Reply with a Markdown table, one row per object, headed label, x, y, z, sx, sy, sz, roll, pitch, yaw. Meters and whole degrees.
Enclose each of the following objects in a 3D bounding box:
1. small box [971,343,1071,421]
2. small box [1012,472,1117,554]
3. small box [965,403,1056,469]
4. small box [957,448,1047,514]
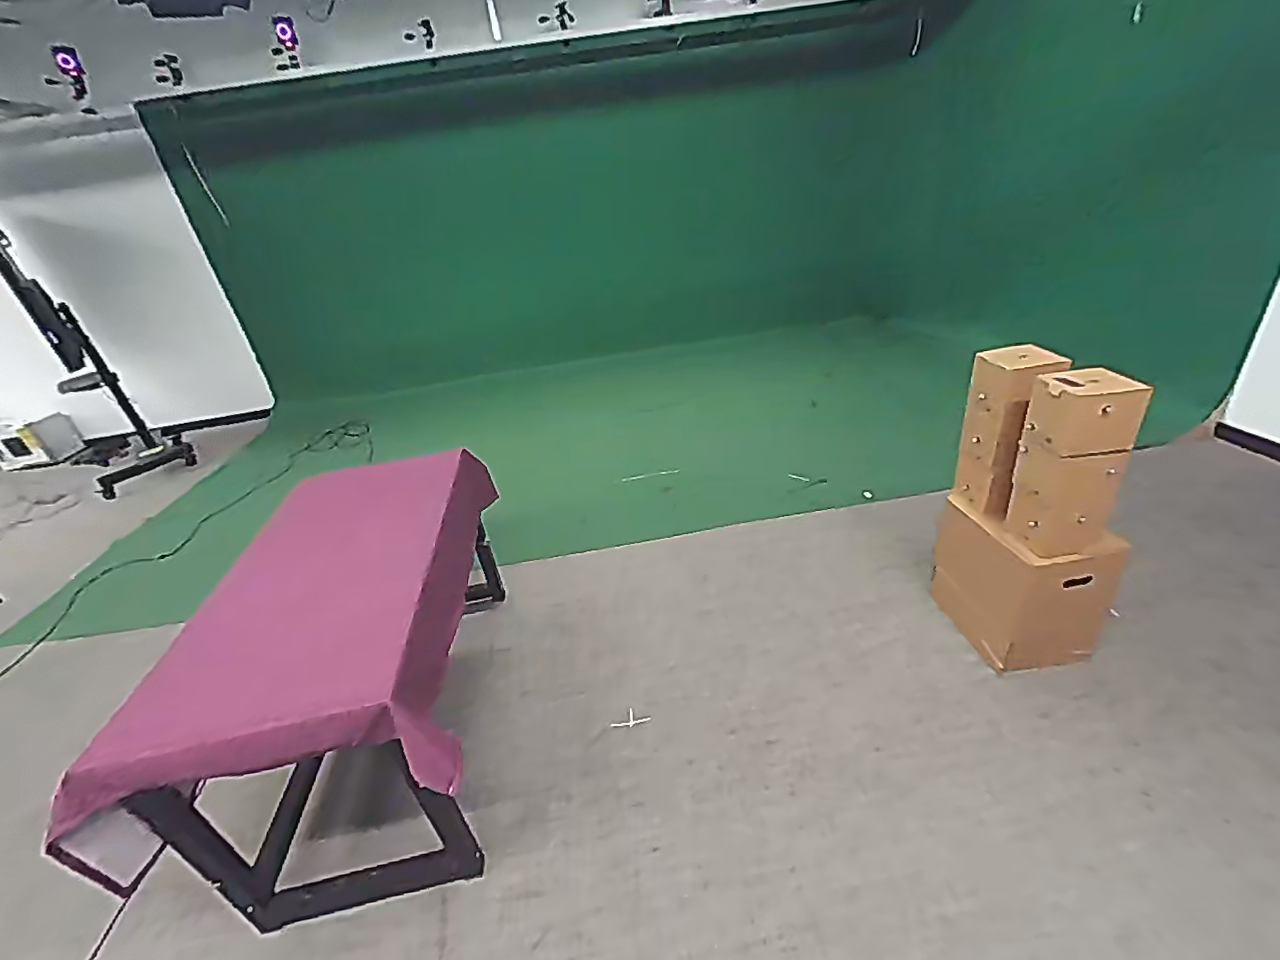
| label | x | y | z | sx | sy | sz | roll | pitch | yaw |
| --- | --- | --- | --- | --- | --- | --- | --- | --- | --- |
| small box | 1.129 | -0.294 | 1.618 | 0.179 | 0.176 | 0.168 | -10 | 30 | 0 |
| small box | 1.218 | 0.098 | 1.571 | 0.179 | 0.176 | 0.168 | -8 | 28 | 1 |
| small box | 1.151 | -0.150 | 1.698 | 0.179 | 0.176 | 0.168 | -11 | 30 | 1 |
| small box | 1.181 | -0.010 | 1.778 | 0.179 | 0.176 | 0.168 | -11 | 31 | 0 |
